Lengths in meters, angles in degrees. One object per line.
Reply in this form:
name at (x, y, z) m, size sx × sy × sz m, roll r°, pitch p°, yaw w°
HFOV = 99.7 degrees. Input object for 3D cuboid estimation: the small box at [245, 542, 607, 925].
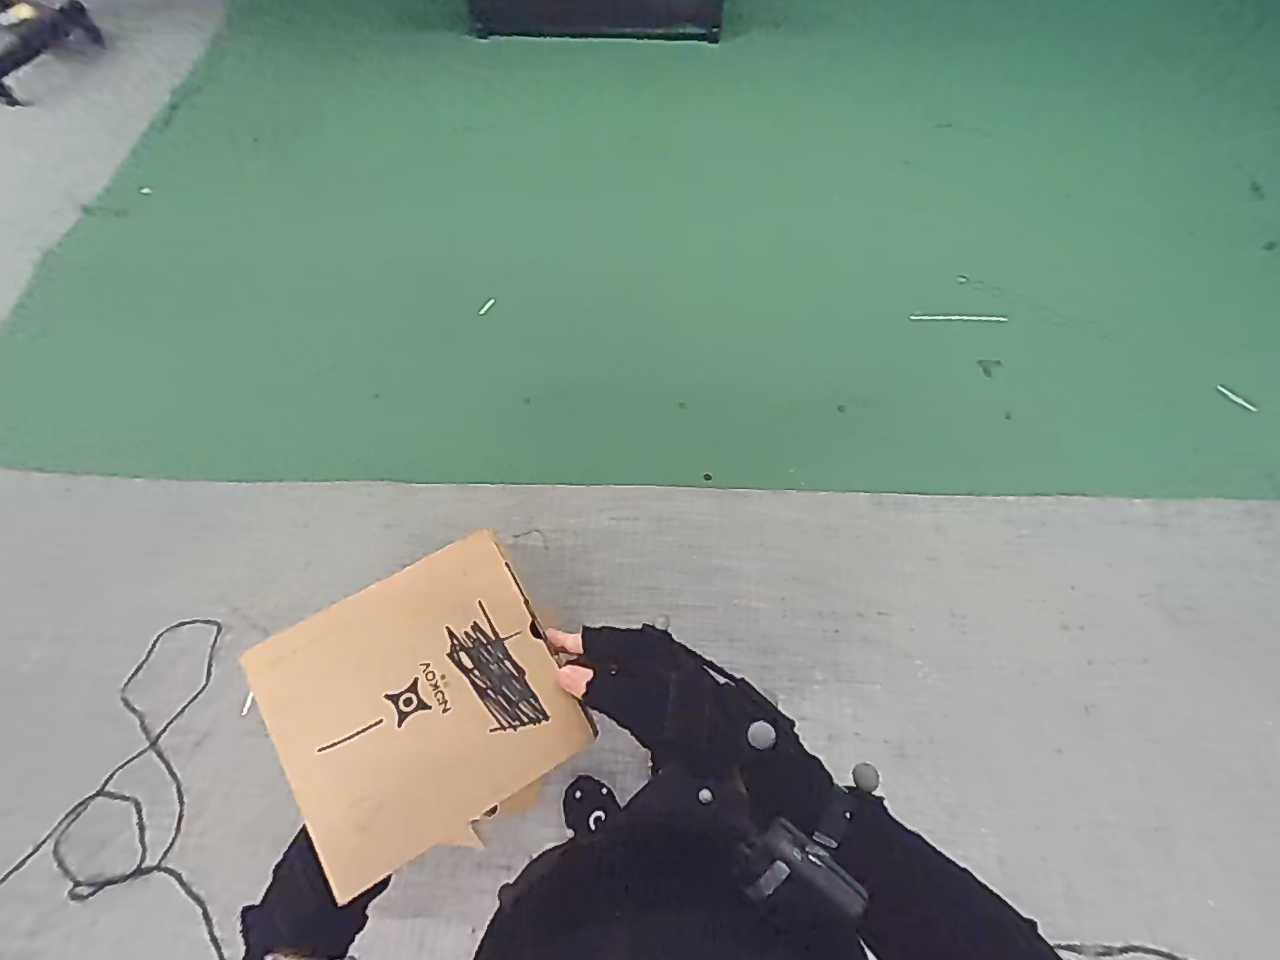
small box at (-0.143, 0.169, 0.417) m, size 0.179 × 0.176 × 0.168 m, roll -28°, pitch 78°, yaw -14°
